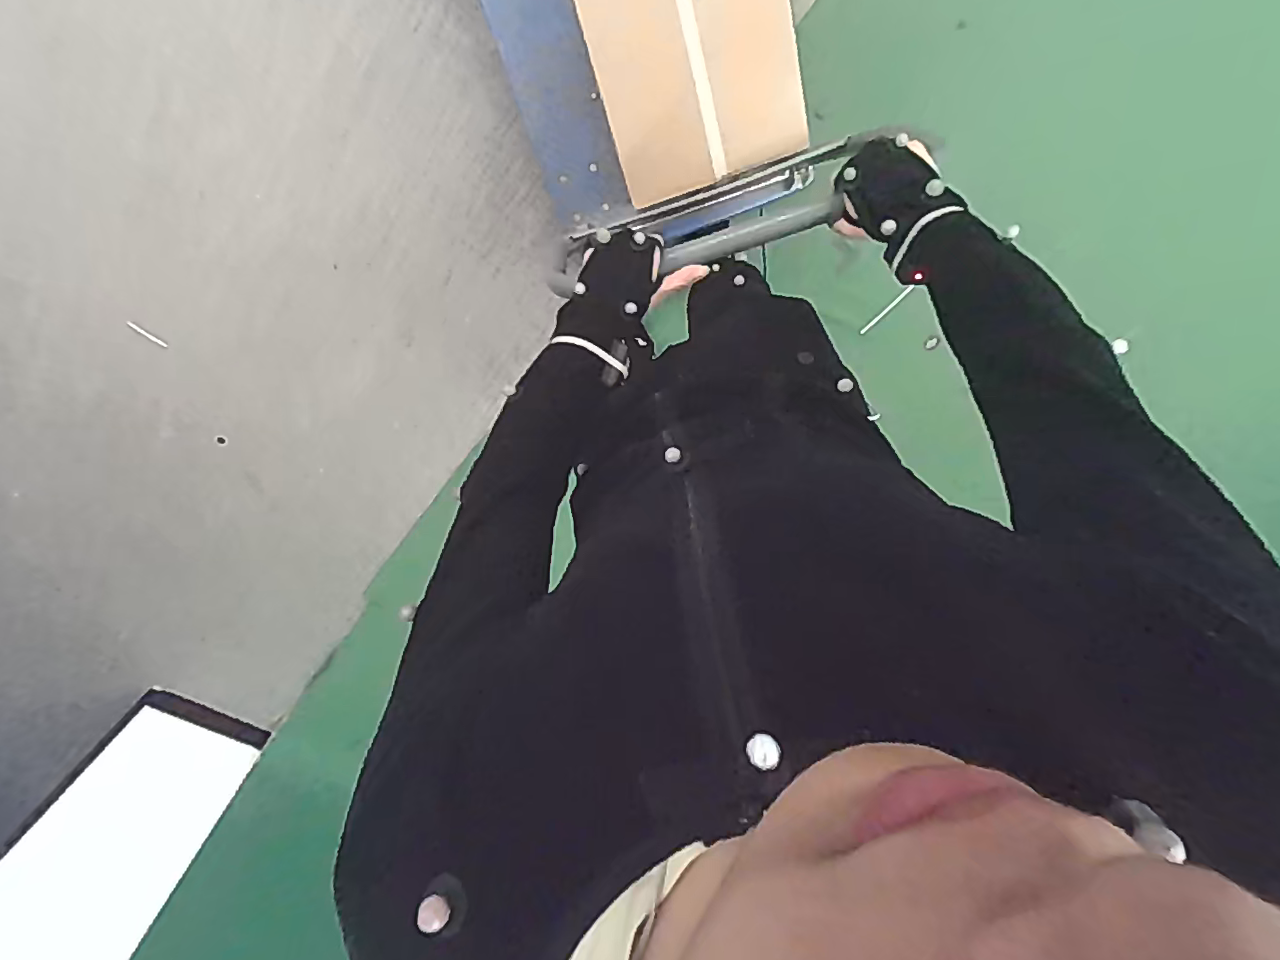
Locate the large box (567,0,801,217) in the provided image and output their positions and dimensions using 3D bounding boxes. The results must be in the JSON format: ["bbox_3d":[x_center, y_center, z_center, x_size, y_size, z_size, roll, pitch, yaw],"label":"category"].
[{"bbox_3d":[0.073,-0.749,0.997,0.320,0.320,0.408,-16,116,7],"label":"large box"}]
